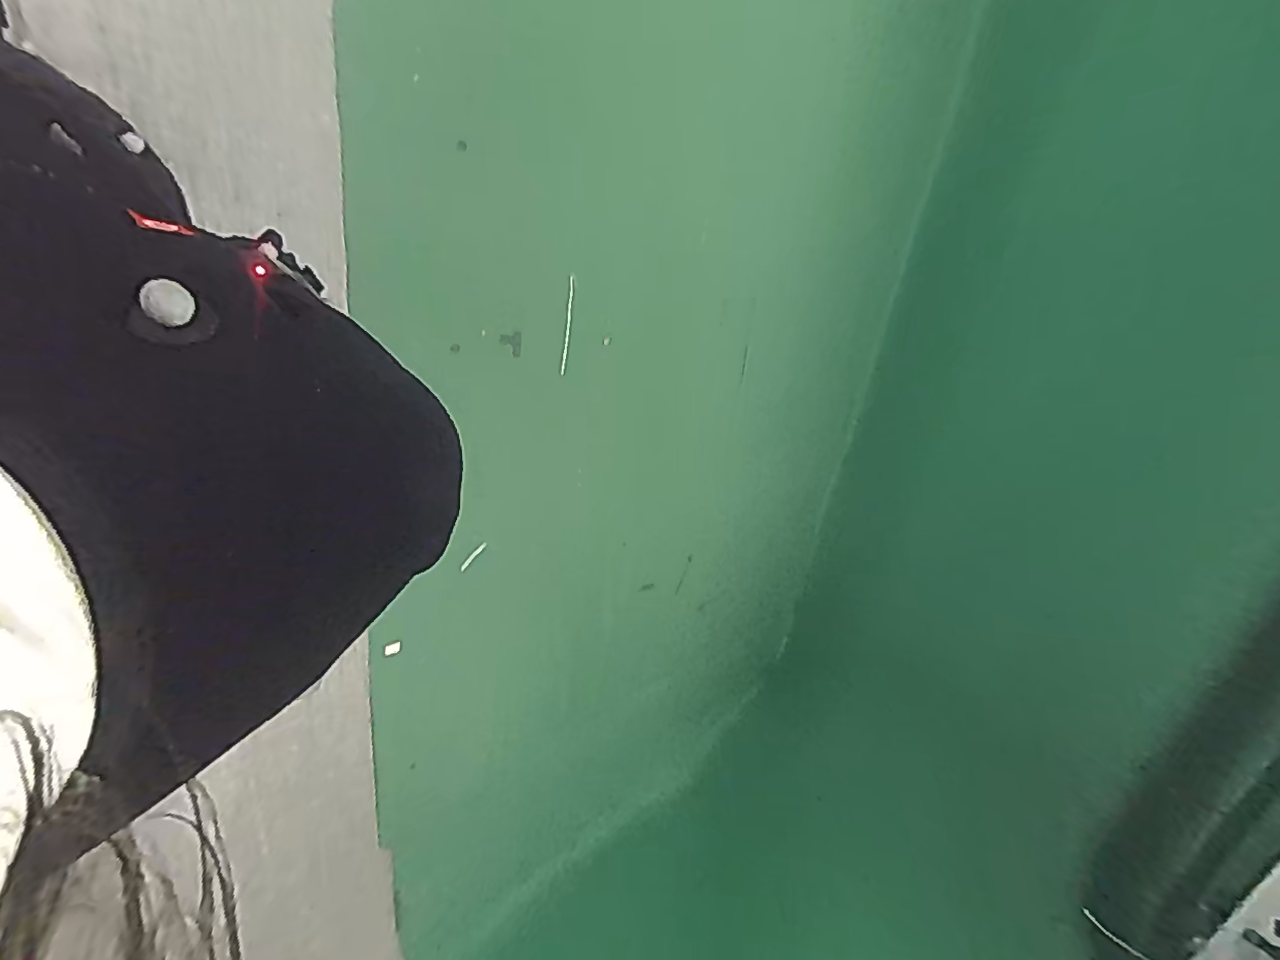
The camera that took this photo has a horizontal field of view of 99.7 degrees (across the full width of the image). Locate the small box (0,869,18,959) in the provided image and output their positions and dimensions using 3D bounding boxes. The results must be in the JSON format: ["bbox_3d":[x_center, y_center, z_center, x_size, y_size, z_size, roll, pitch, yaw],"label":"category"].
[{"bbox_3d":[-1.460,0.975,1.137,0.179,0.176,0.168,-13,120,-44],"label":"small box"}]
